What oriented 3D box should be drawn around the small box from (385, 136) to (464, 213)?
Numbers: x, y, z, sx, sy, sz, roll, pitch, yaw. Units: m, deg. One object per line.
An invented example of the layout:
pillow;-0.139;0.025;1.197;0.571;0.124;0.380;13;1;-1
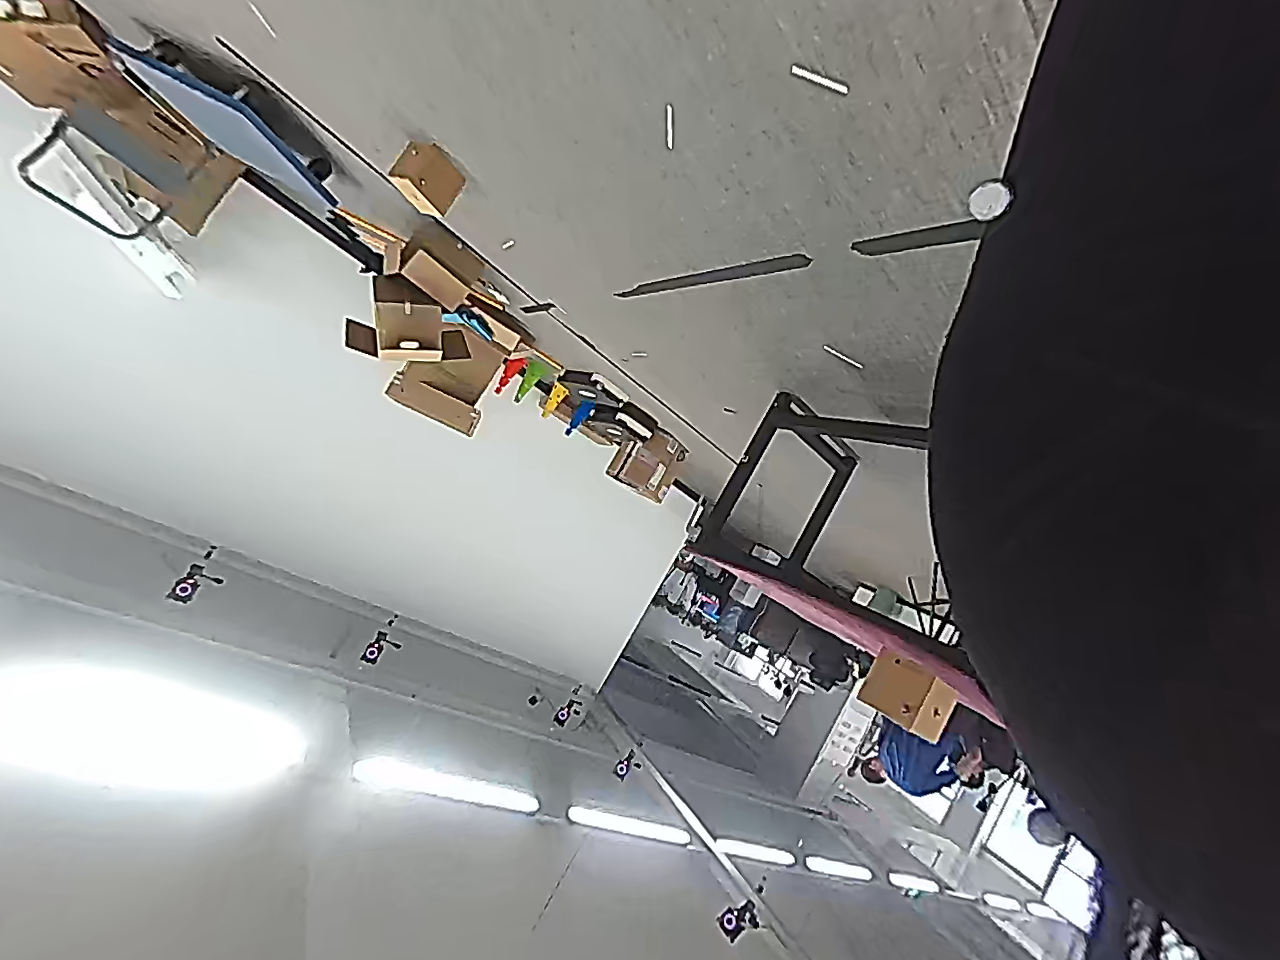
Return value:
small box;-0.792;-1.130;2.003;0.168;0.176;0.179;28;173;33
